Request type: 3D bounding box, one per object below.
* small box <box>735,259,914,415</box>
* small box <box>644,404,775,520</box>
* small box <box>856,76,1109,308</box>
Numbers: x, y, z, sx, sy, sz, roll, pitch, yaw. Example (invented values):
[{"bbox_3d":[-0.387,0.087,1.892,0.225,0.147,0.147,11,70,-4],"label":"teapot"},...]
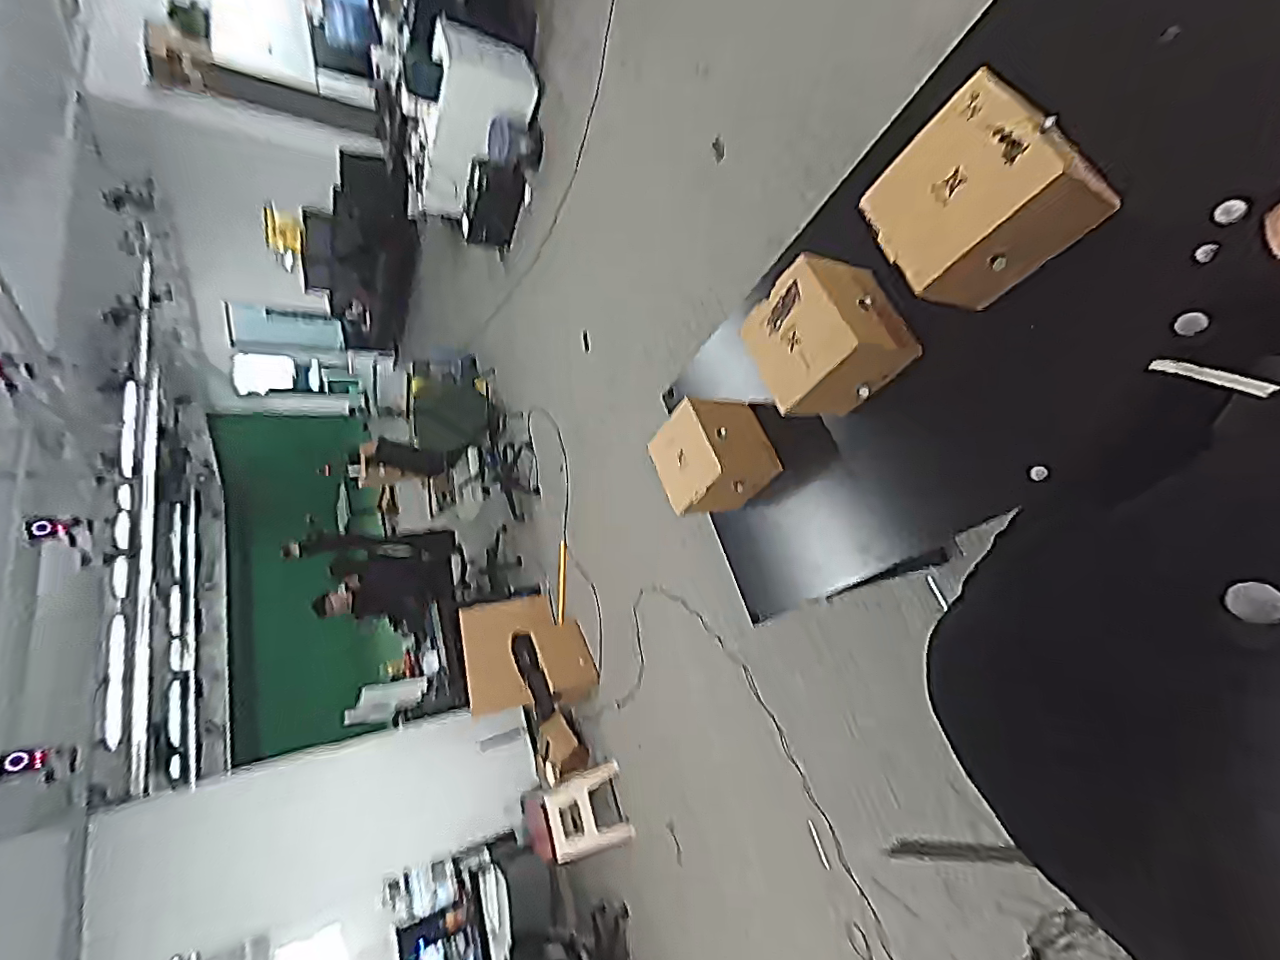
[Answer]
[{"bbox_3d":[0.291,-0.216,0.863,0.168,0.176,0.179,-48,56,47],"label":"small box"},{"bbox_3d":[0.141,-0.039,1.102,0.168,0.176,0.179,-50,53,44],"label":"small box"},{"bbox_3d":[0.415,-0.336,0.669,0.179,0.176,0.168,-45,57,49],"label":"small box"}]
